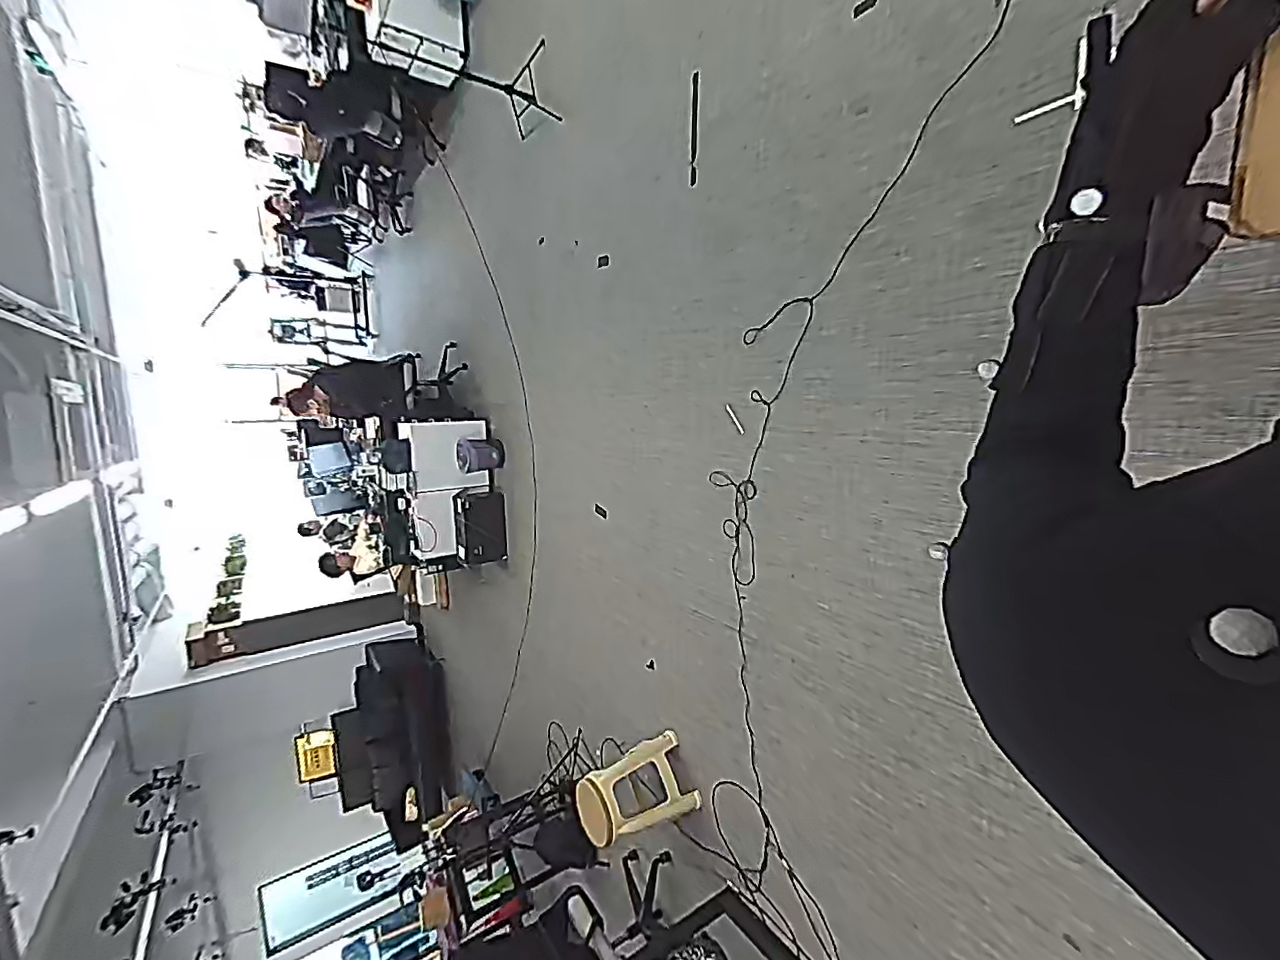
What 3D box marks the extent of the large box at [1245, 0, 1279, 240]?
[{"bbox_3d":[0.586,-0.311,0.230,0.408,0.320,0.320,10,113,51],"label":"large box"}]
